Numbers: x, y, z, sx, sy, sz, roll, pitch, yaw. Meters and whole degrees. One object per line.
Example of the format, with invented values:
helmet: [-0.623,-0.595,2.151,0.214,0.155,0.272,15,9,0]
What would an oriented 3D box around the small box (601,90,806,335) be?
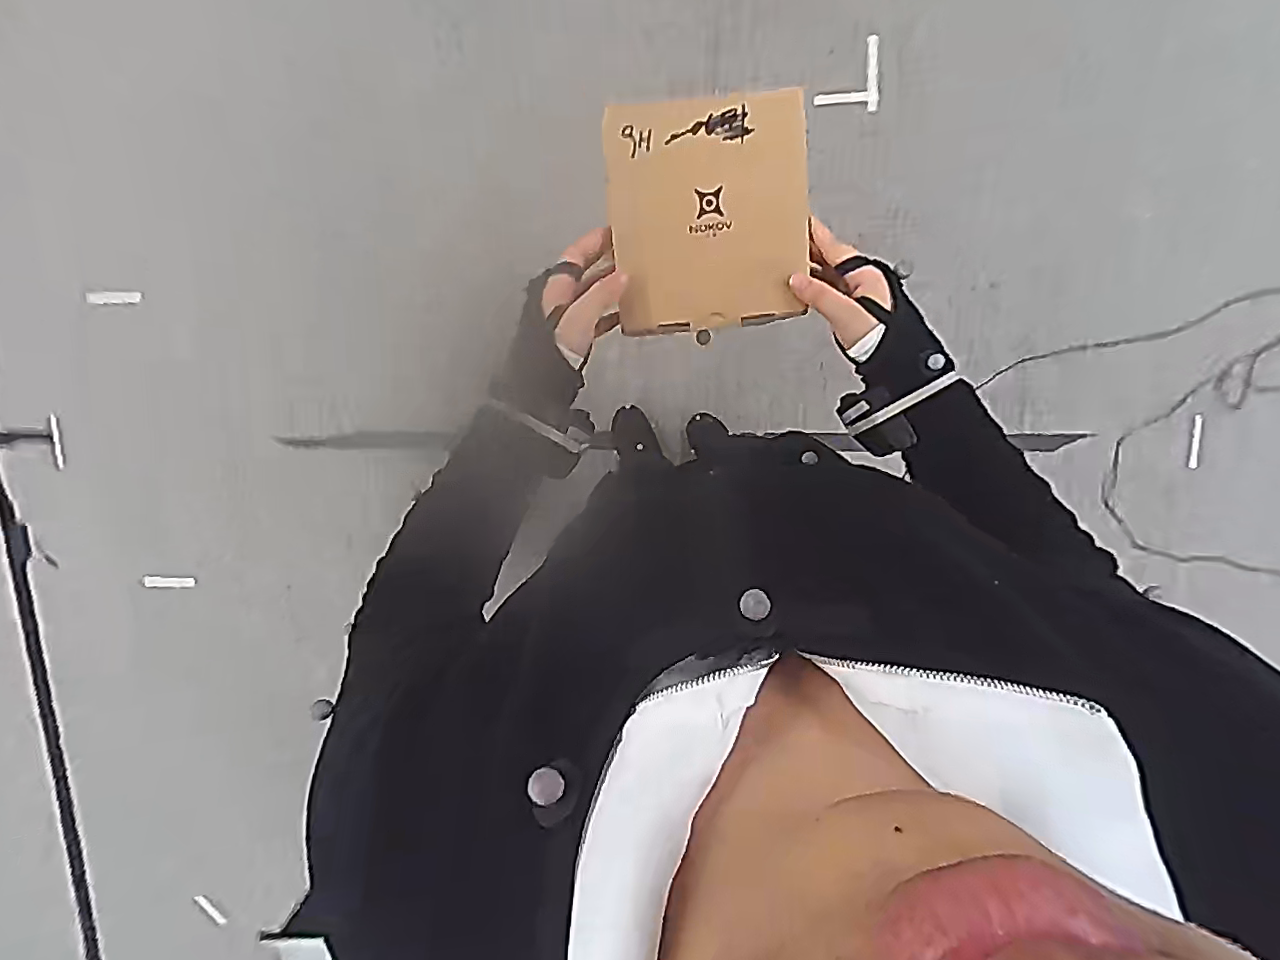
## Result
small box: [0.058,-0.239,0.529,0.168,0.176,0.179,-6,104,2]
